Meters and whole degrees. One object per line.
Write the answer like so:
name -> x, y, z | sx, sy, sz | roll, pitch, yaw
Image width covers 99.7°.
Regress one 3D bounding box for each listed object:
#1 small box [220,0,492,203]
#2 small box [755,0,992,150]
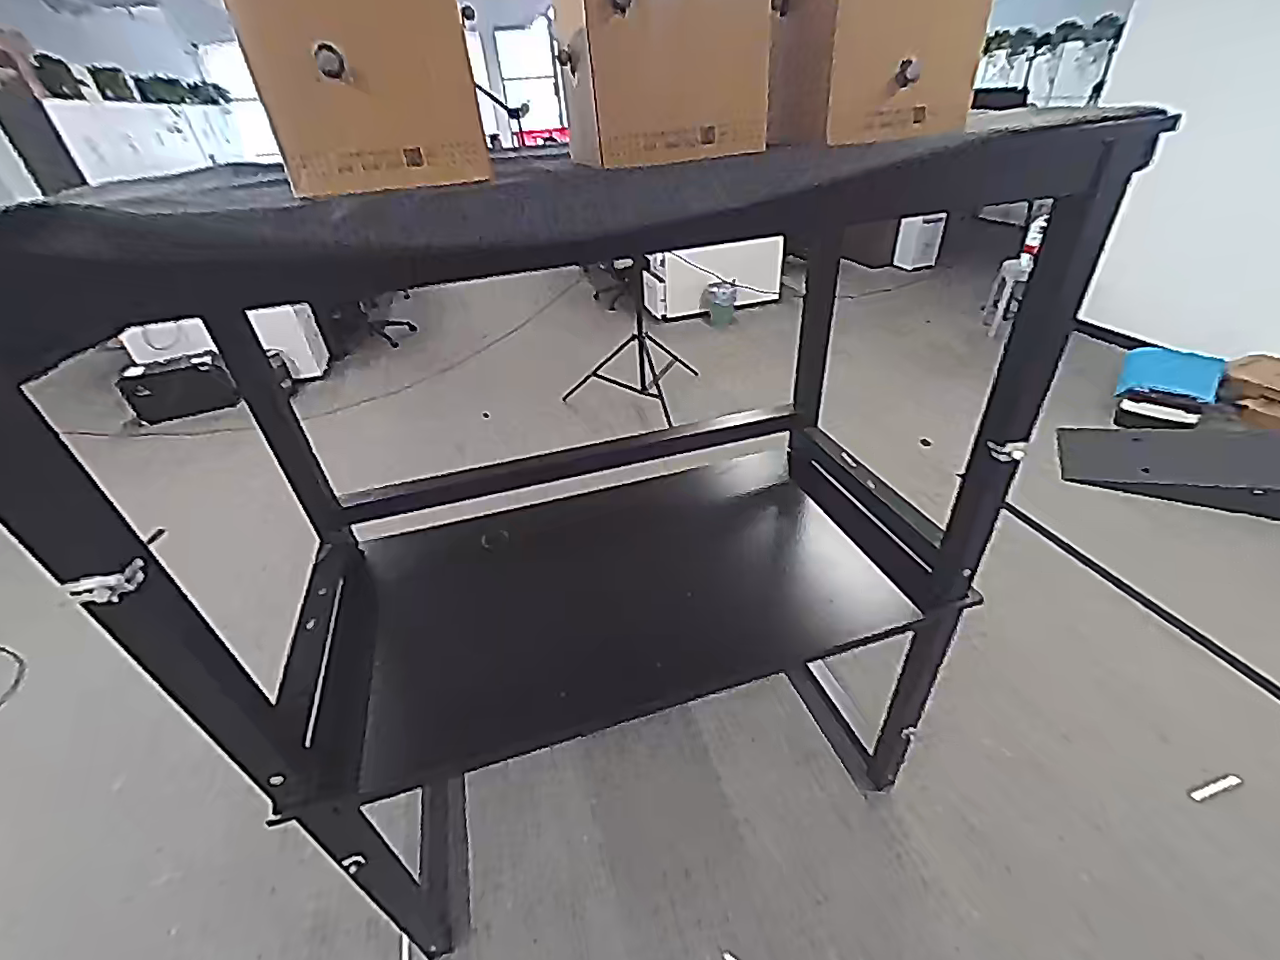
small box -> -0.236, -0.359, 0.496 | 0.168, 0.176, 0.179 | -11, 34, -9
small box -> 0.230, -0.453, 0.571 | 0.168, 0.176, 0.179 | -13, 35, -10
